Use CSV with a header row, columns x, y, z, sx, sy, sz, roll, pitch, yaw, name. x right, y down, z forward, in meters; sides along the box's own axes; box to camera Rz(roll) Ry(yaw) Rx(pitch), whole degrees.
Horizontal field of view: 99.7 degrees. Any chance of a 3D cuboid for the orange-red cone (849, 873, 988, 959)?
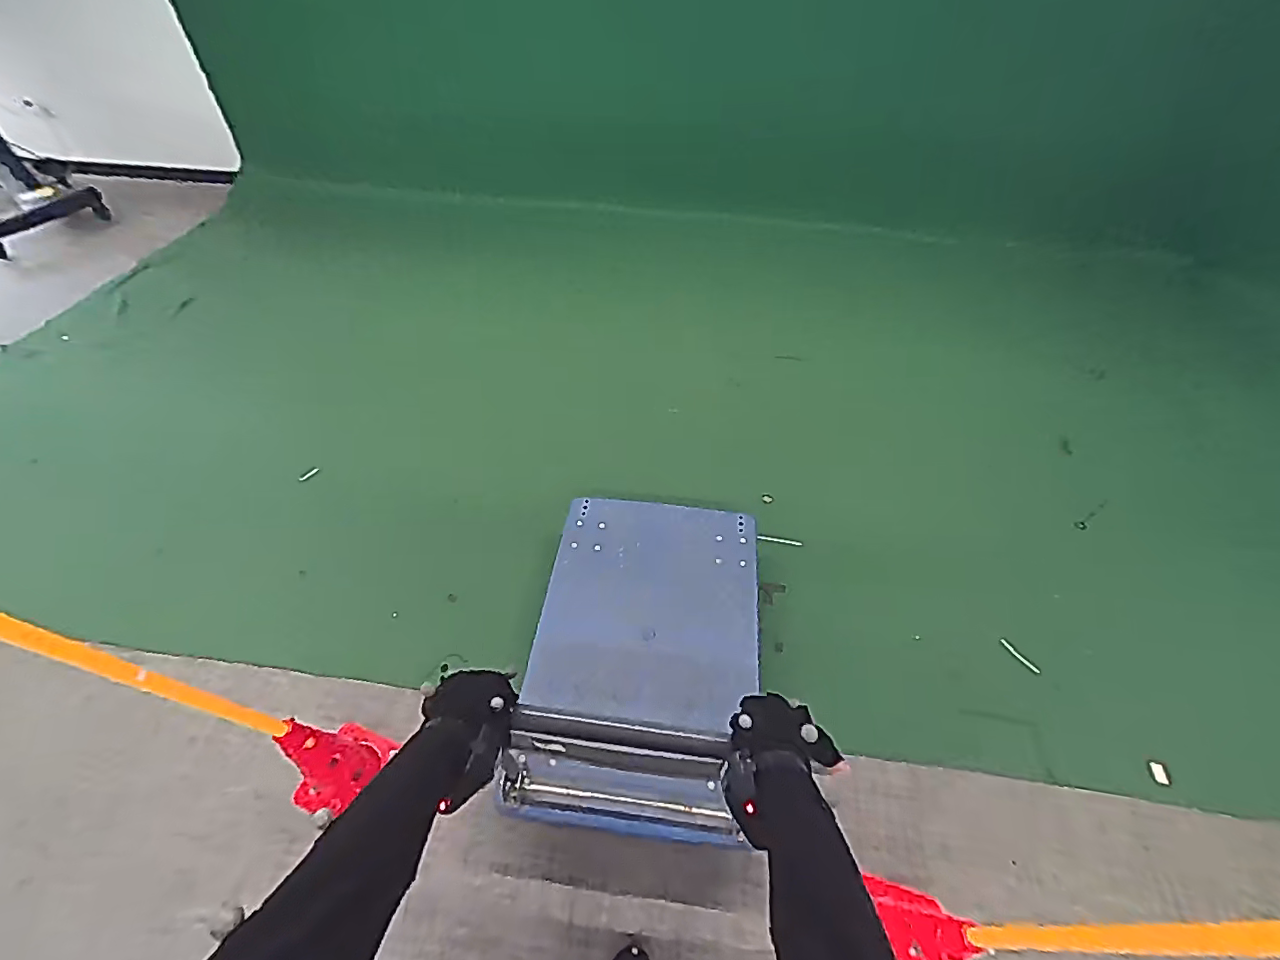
x,y,z,sx,sy,sz,roll,pitch,yaw,name
0.545,0.857,1.006,0.198,0.360,0.199,15,51,12,orange-red cone
